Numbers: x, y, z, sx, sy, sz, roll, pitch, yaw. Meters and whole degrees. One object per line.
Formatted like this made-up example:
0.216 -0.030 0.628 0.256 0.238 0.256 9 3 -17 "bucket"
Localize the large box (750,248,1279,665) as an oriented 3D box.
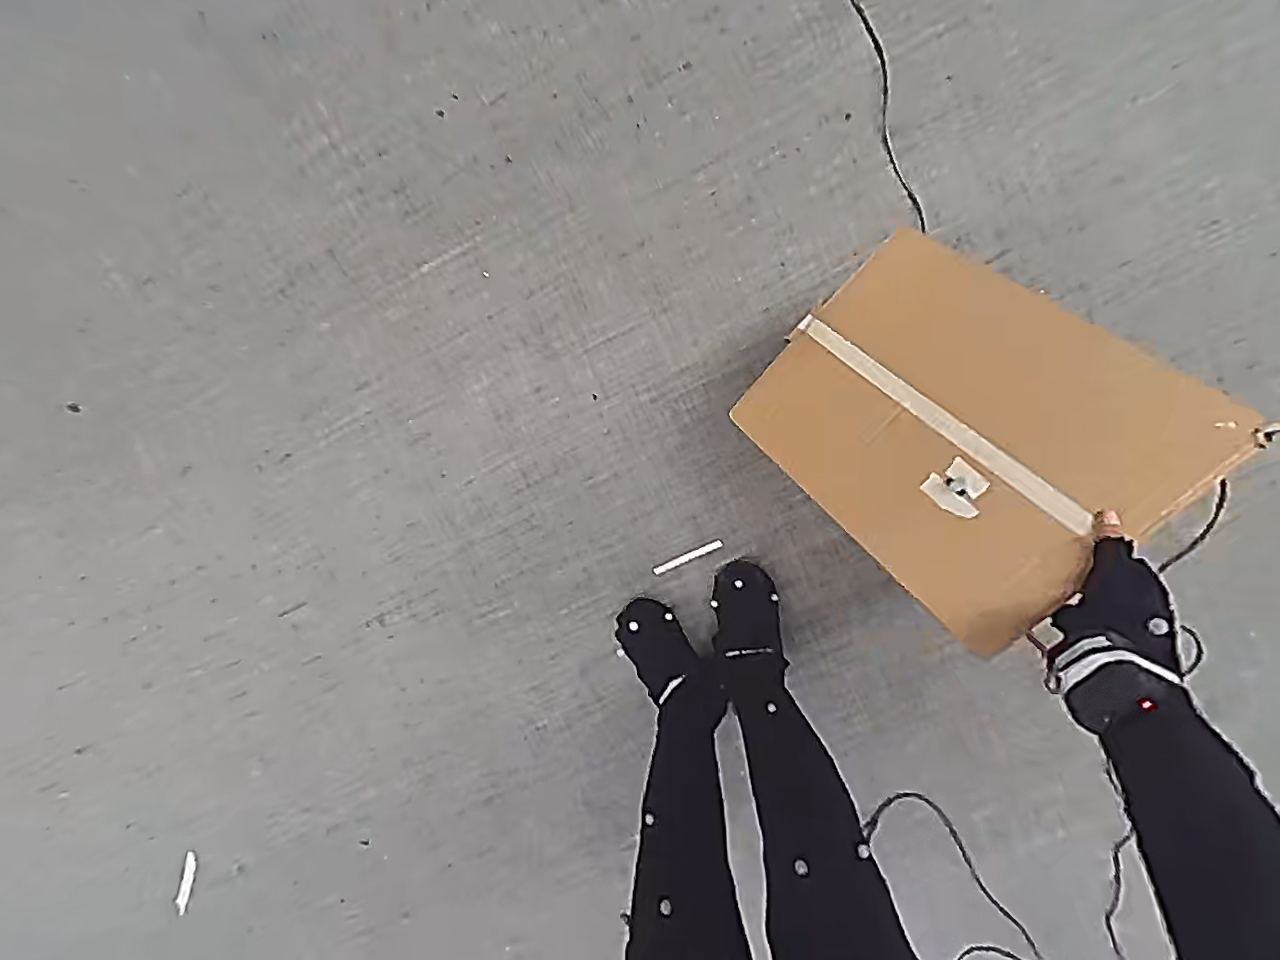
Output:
0.430 -0.022 0.729 0.320 0.320 0.408 -48 60 14 "large box"
